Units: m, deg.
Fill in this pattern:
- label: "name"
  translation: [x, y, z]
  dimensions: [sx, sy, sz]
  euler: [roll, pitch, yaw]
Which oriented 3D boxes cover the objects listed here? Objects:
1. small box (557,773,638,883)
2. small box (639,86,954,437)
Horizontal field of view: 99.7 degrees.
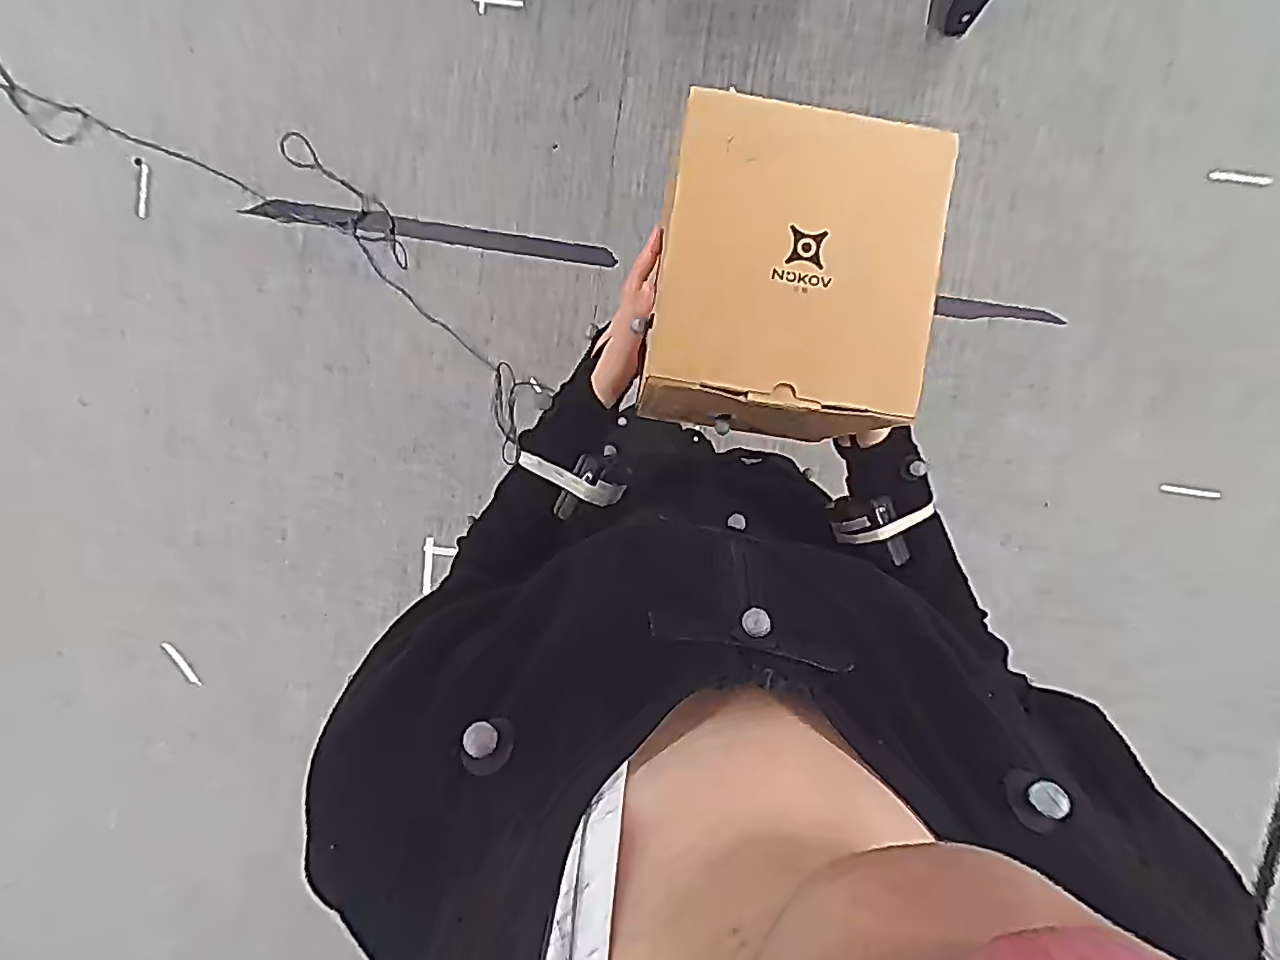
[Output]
- label: "small box"
  translation: [-0.110, 0.933, 1.465]
  dimensions: [0.179, 0.176, 0.168]
  euler: [15, 94, -1]
- label: "small box"
  translation: [0.092, -0.134, 0.399]
  dimensions: [0.168, 0.176, 0.179]
  euler: [8, 91, -3]
